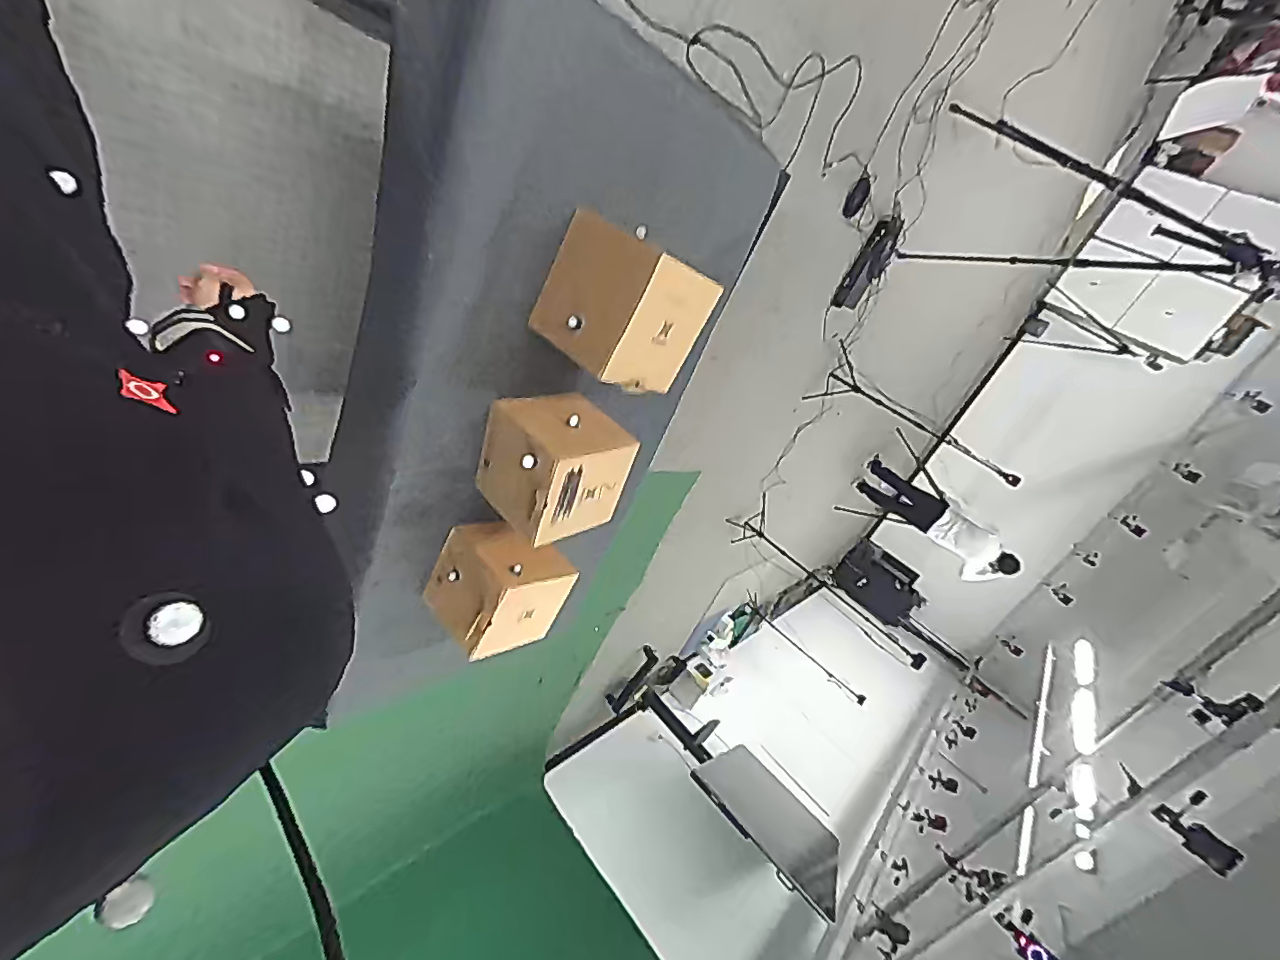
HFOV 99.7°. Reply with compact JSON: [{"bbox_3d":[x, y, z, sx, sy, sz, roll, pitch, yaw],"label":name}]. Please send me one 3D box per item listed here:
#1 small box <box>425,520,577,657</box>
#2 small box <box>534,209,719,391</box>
[{"bbox_3d":[-0.255,0.186,0.990,0.179,0.176,0.168,-1,126,-55],"label":"small box"},{"bbox_3d":[-0.026,-0.252,0.778,0.168,0.176,0.179,-4,127,-56],"label":"small box"}]
